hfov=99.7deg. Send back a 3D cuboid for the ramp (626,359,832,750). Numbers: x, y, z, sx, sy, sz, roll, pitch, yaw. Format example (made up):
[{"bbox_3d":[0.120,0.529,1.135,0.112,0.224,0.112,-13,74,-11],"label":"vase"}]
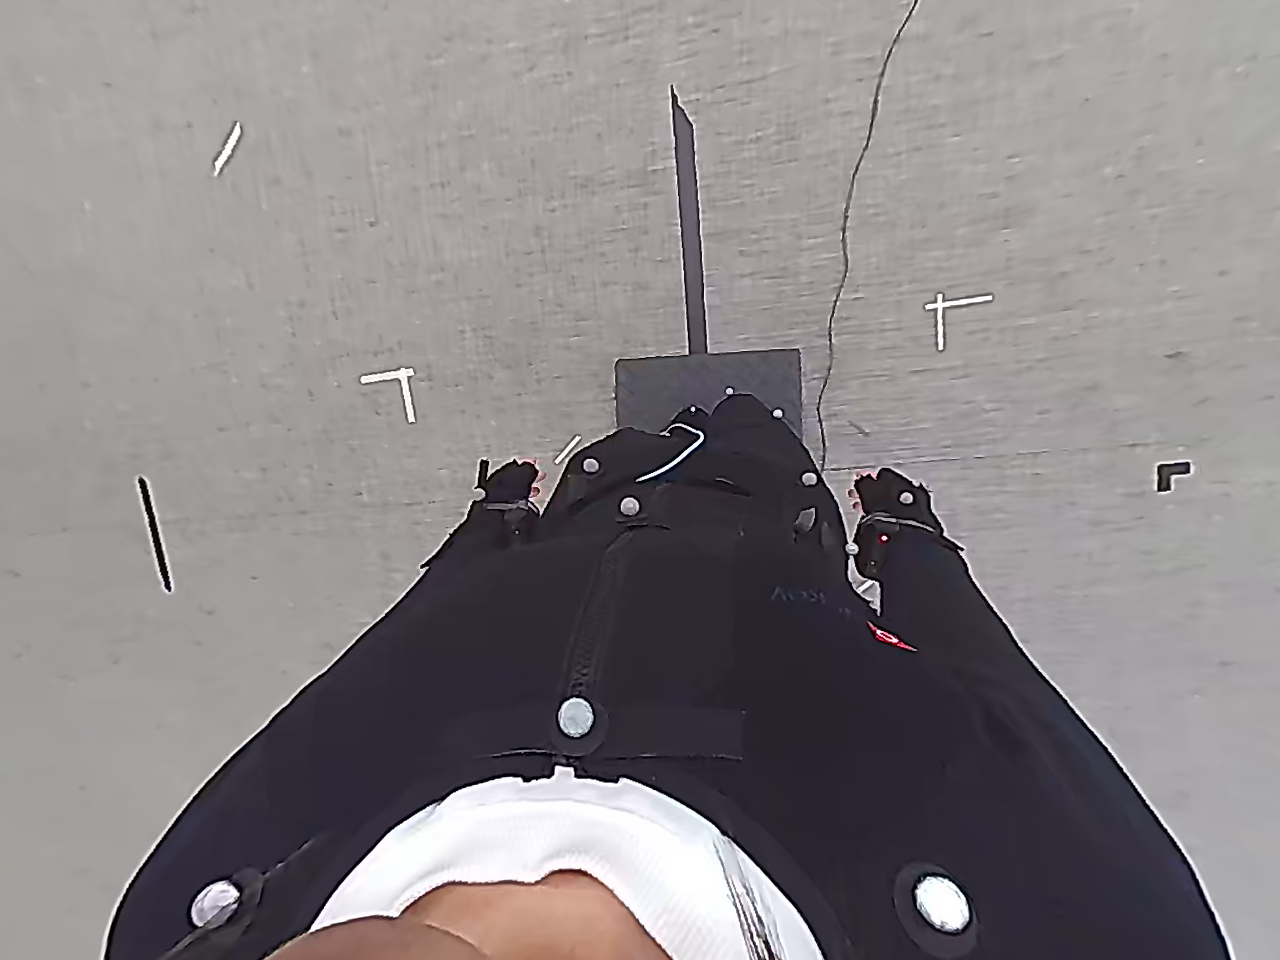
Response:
[{"bbox_3d":[0.218,0.192,1.428,0.509,0.206,0.991,-5,96,11],"label":"ramp"}]
